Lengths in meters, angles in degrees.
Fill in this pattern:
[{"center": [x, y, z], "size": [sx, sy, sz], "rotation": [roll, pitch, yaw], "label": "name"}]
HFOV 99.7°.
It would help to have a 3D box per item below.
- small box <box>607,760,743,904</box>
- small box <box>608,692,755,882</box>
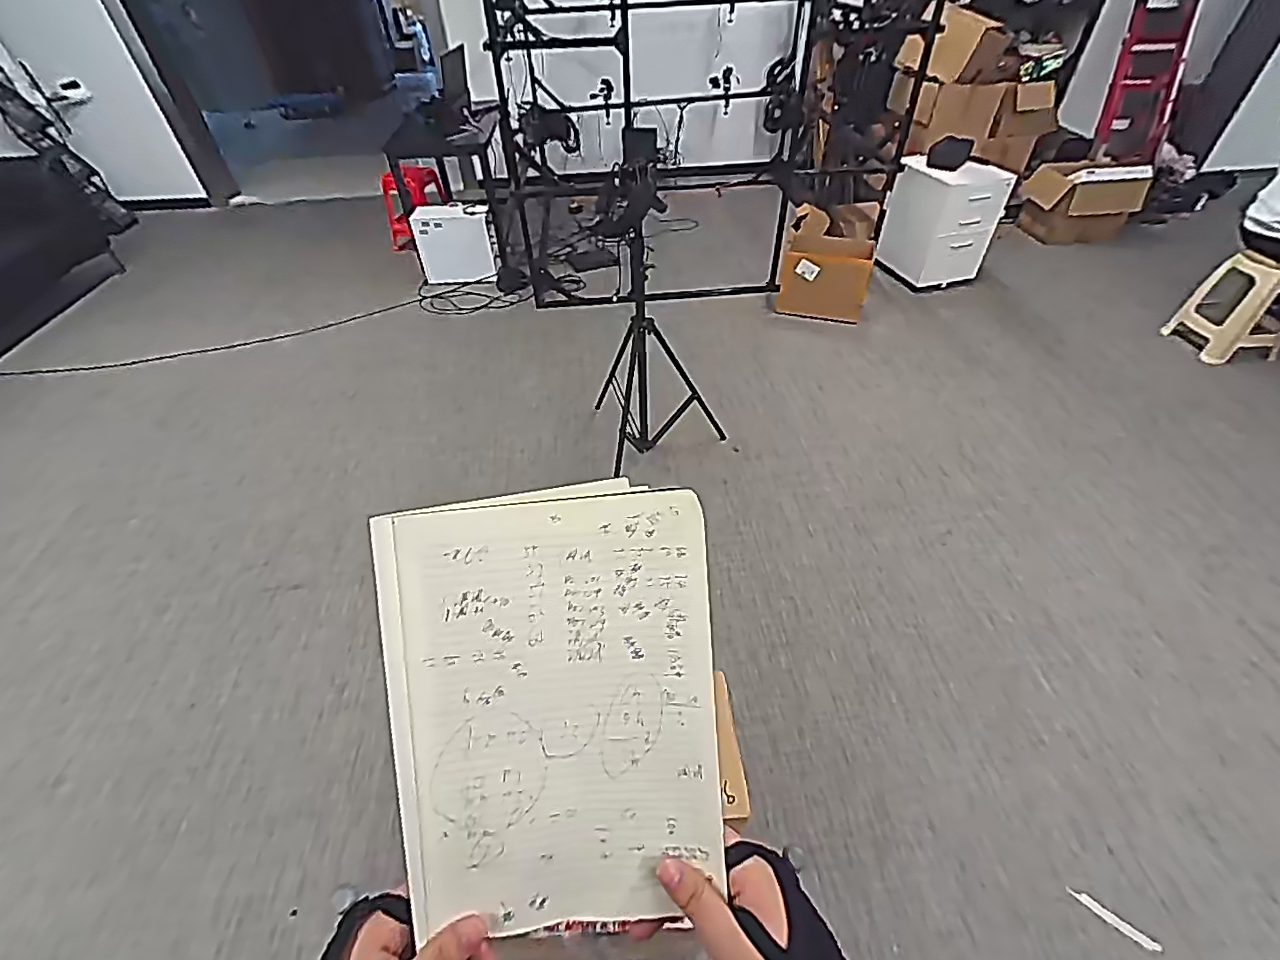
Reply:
[{"center": [0.044, 0.529, 0.830], "size": [0.179, 0.176, 0.168], "rotation": [-5, 45, -5], "label": "small box"}, {"center": [0.042, 0.407, 0.720], "size": [0.168, 0.176, 0.179], "rotation": [-3, 45, -4], "label": "small box"}]
